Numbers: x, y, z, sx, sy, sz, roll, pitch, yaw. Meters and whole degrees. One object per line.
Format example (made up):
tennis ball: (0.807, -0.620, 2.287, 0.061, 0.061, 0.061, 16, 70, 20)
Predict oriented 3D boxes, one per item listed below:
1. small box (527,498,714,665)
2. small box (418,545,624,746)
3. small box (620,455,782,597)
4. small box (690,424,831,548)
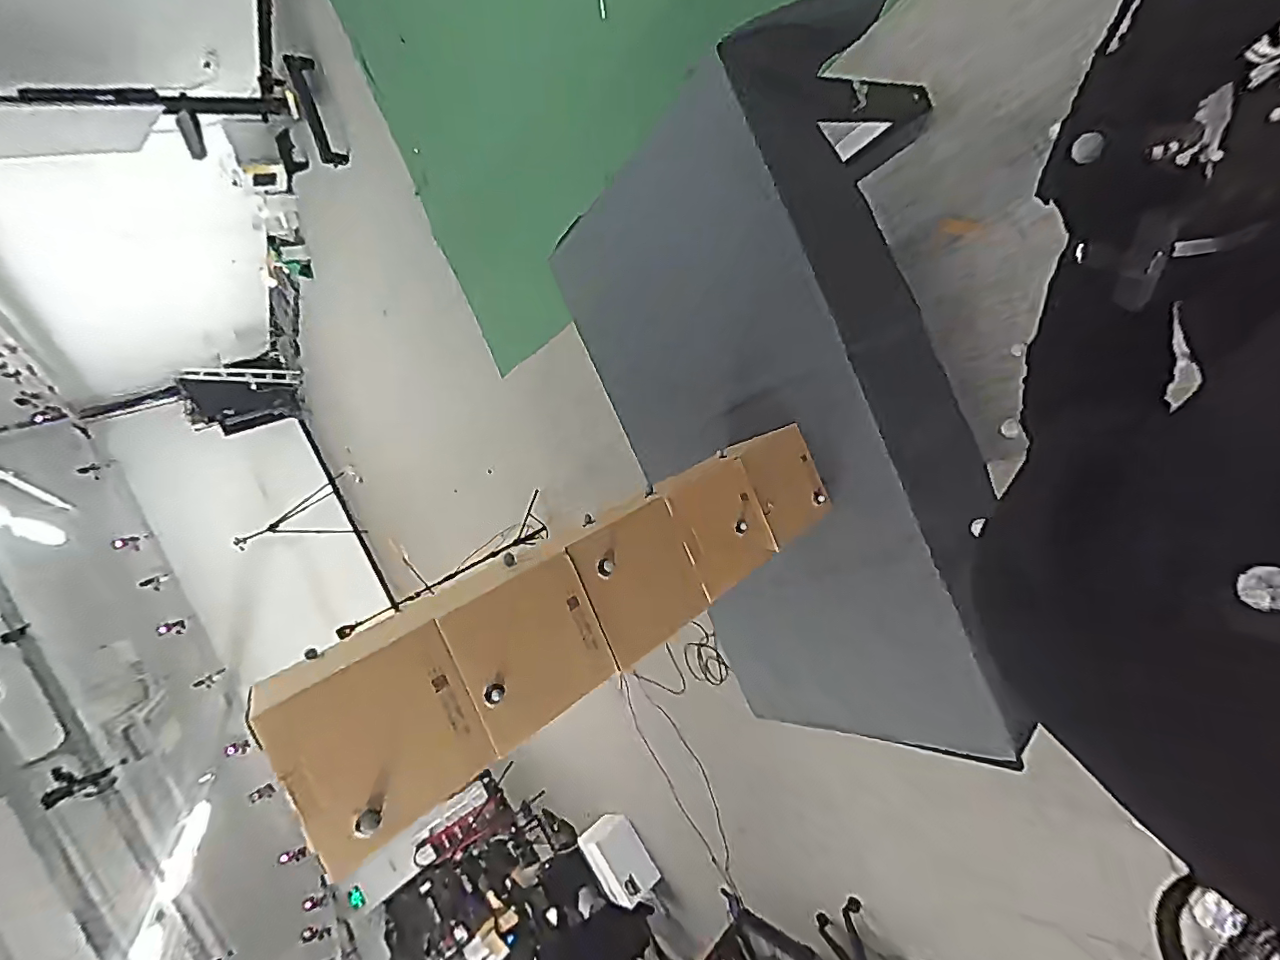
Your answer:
small box: (-0.027, 0.135, 0.772, 0.168, 0.176, 0.179, -17, 98, 55)
small box: (-0.149, 0.191, 0.679, 0.179, 0.176, 0.168, -15, 99, 55)
small box: (0.093, 0.076, 0.869, 0.179, 0.176, 0.168, -20, 96, 55)
small box: (0.211, 0.017, 0.961, 0.179, 0.176, 0.168, -20, 95, 56)
